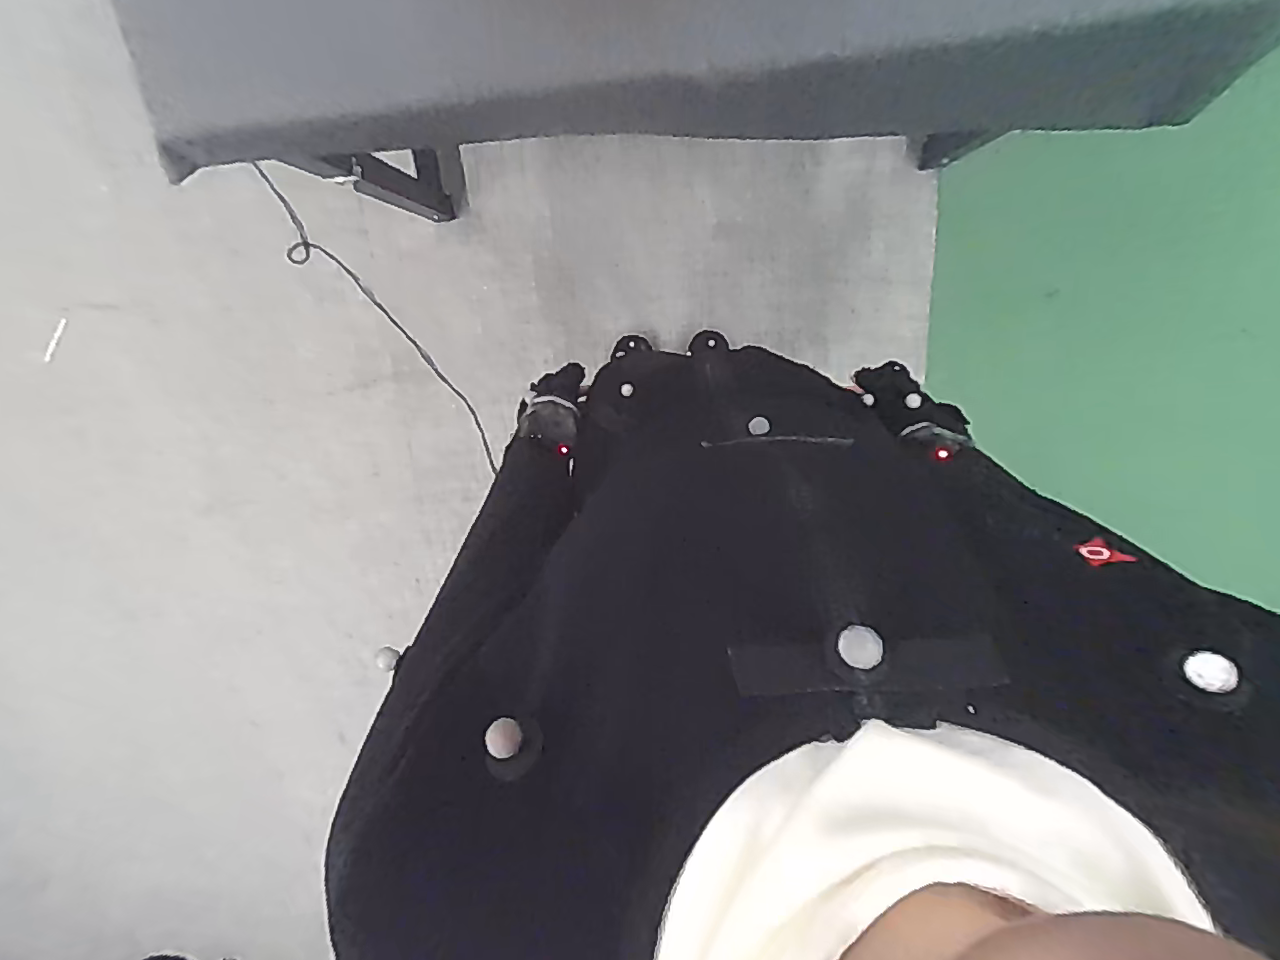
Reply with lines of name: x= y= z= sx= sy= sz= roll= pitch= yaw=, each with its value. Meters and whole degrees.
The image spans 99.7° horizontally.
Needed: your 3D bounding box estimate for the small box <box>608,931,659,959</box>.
small box: x=-0.022 y=1.752 z=1.925 sx=0.179 sy=0.176 sz=0.168 roll=-4 pitch=107 yaw=2
